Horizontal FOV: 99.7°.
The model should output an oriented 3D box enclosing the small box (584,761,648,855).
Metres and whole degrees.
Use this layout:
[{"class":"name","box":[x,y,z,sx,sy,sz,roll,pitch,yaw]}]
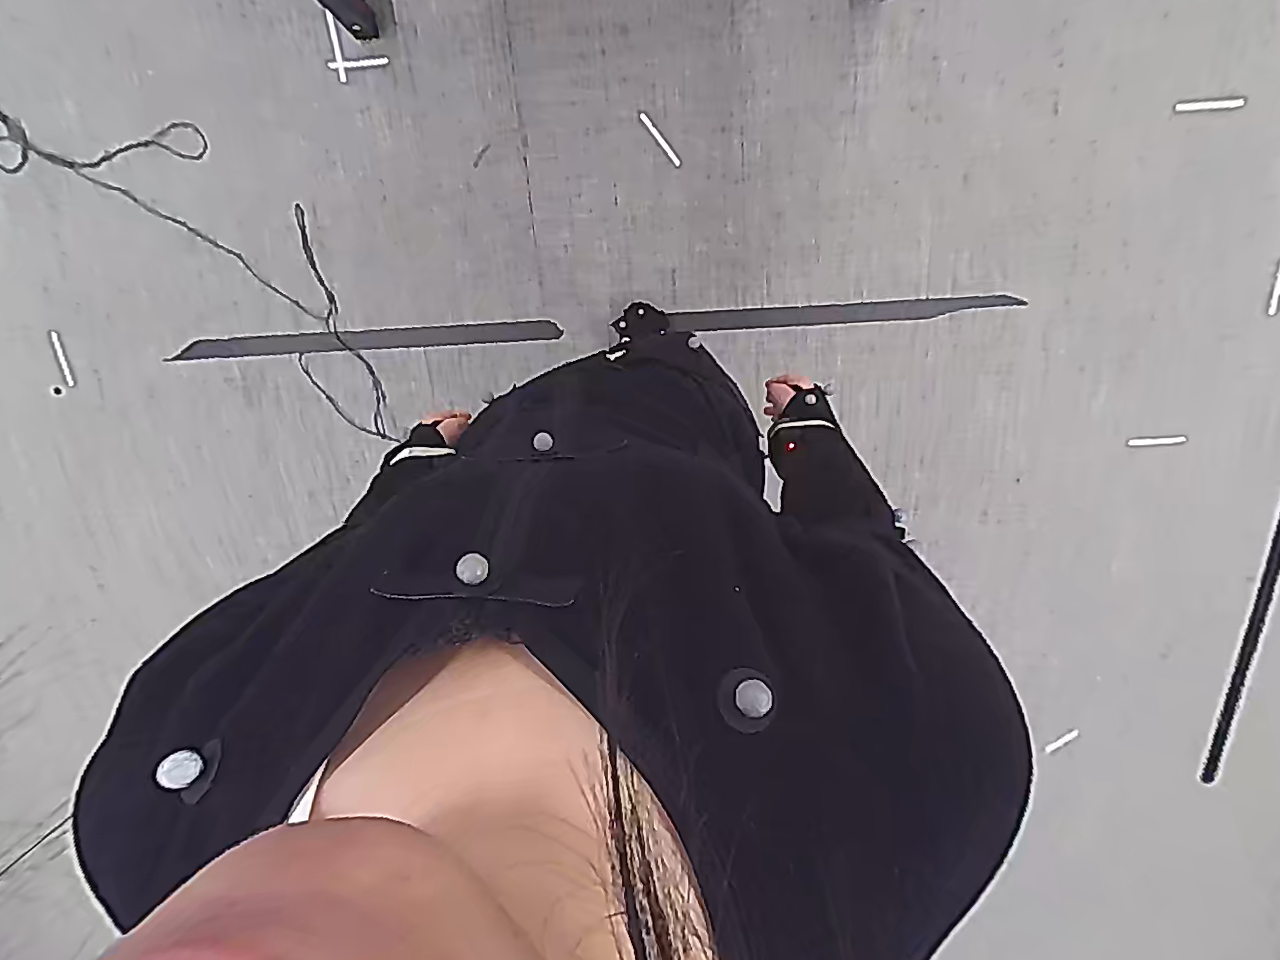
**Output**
[{"class":"small box","box":[-0.070,1.030,1.705,0.168,0.176,0.179,-13,106,2]}]
